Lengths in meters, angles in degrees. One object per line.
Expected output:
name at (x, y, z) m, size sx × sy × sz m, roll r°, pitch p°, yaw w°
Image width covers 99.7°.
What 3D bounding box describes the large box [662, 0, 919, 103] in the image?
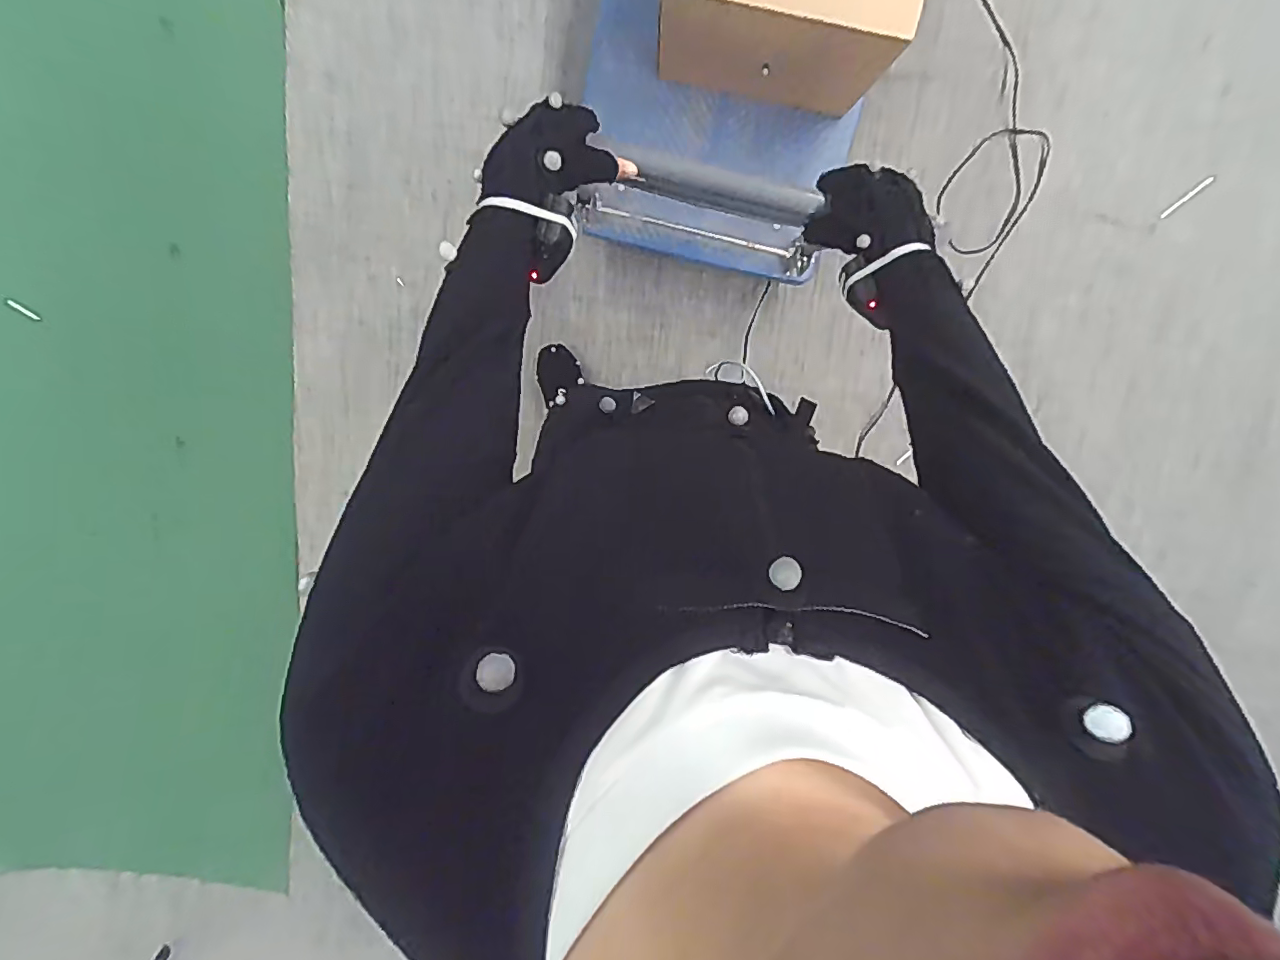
large box at (0.263, -0.922, 0.952) m, size 0.408 × 0.320 × 0.320 m, roll 10°, pitch 105°, yaw -1°
